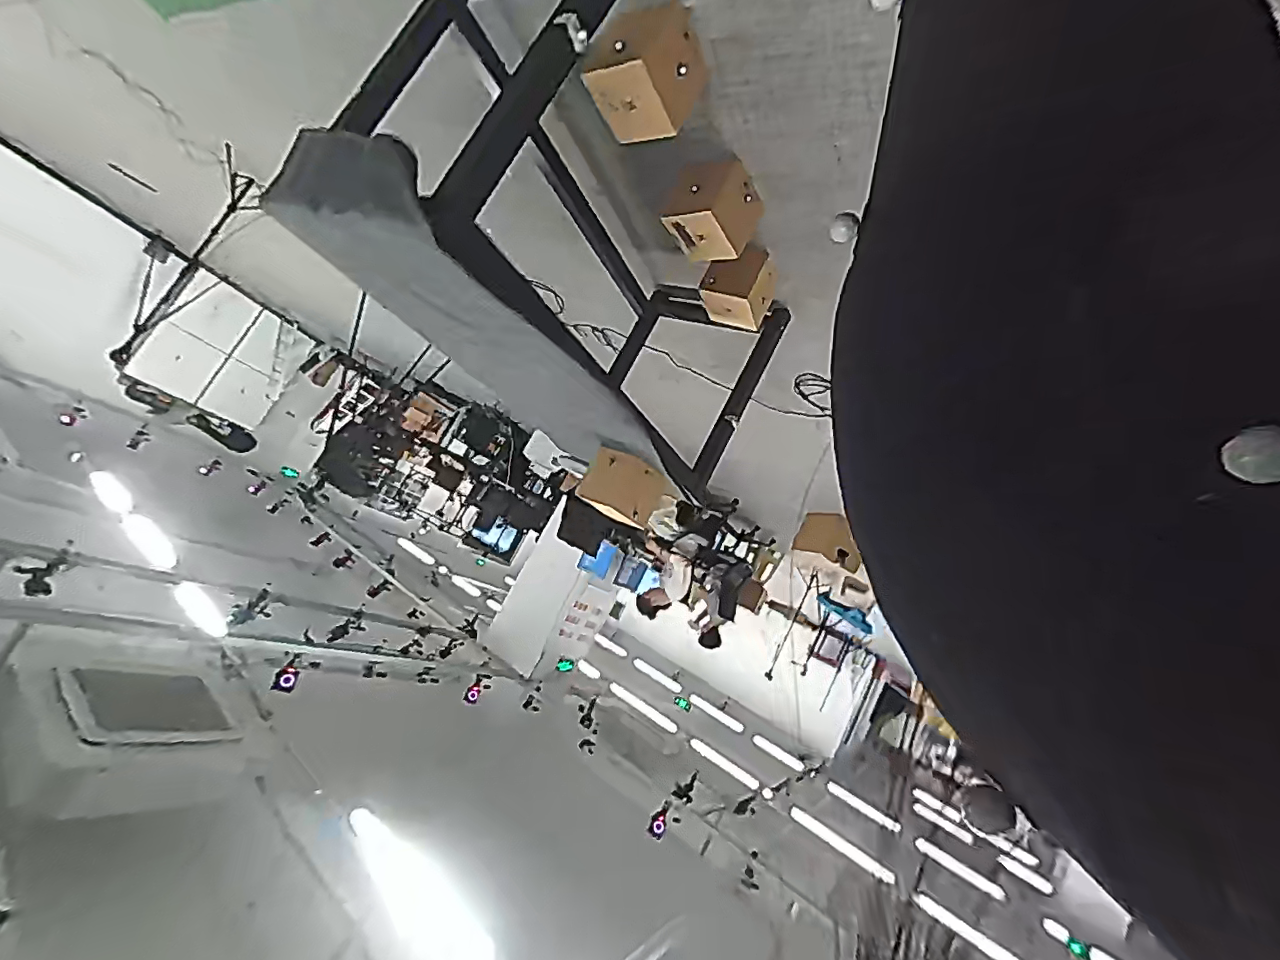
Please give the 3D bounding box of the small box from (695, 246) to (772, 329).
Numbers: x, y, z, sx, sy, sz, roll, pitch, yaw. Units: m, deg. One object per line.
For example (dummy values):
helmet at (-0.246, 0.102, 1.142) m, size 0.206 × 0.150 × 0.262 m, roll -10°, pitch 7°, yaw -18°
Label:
small box at (0.304, -0.611, 1.711) m, size 0.179 × 0.176 × 0.168 m, roll 24°, pitch 170°, yaw 28°

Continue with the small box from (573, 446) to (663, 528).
small box at (-0.062, 0.016, 1.617) m, size 0.179 × 0.176 × 0.168 m, roll 19°, pitch 167°, yaw 44°

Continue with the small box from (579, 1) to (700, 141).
small box at (0.009, -0.867, 1.153) m, size 0.179 × 0.176 × 0.168 m, roll 21°, pitch 168°, yaw 37°
